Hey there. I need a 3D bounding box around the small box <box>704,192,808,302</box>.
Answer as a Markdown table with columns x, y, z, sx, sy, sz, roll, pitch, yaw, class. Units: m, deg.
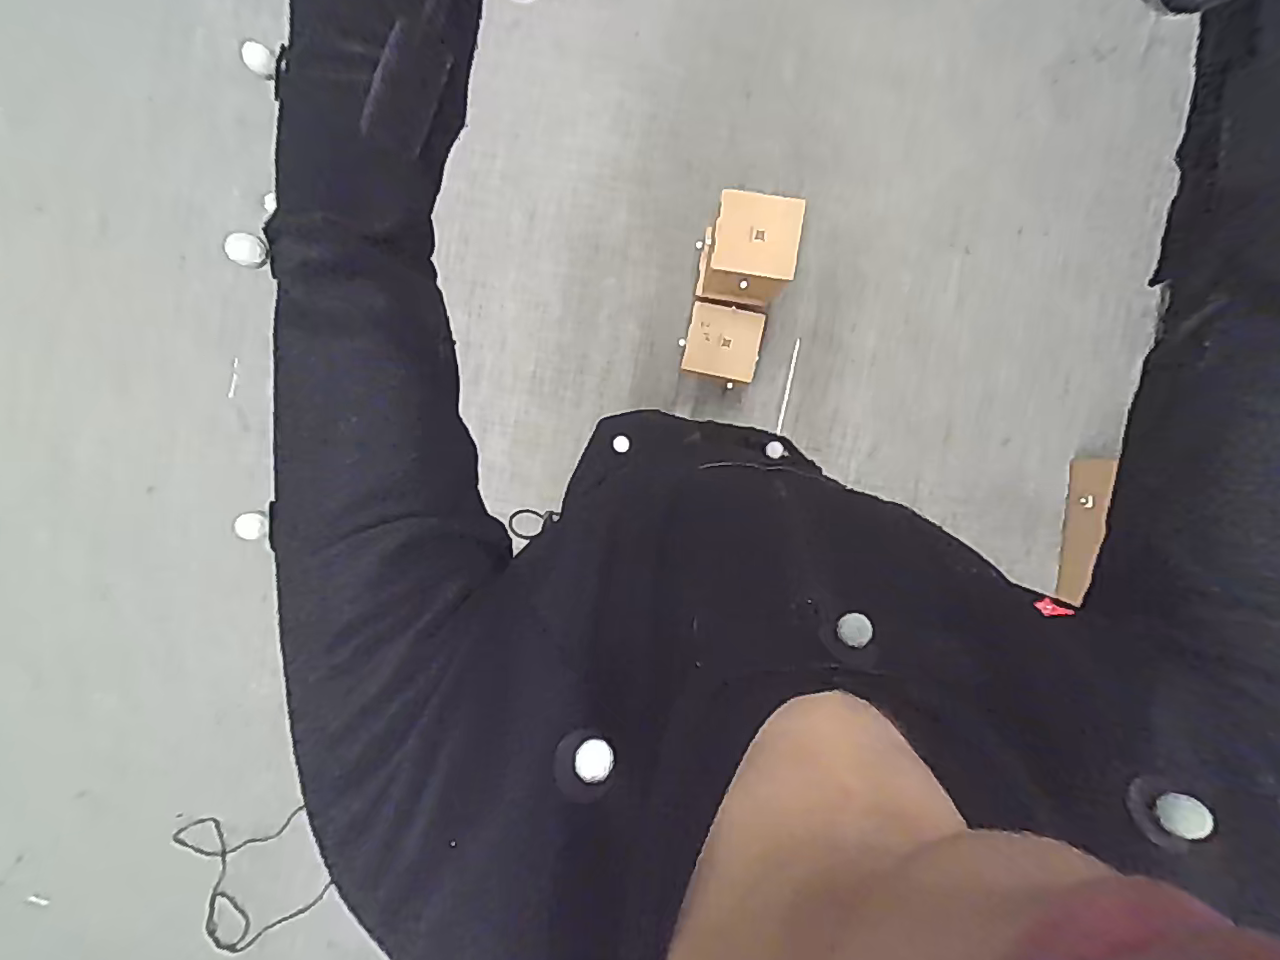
| x | y | z | sx | sy | sz | roll | pitch | yaw | class |
| --- | --- | --- | --- | --- | --- | --- | --- | --- | --- |
| 0.247 | -0.502 | 1.190 | 0.179 | 0.176 | 0.168 | 10 | 93 | 1 | small box |
